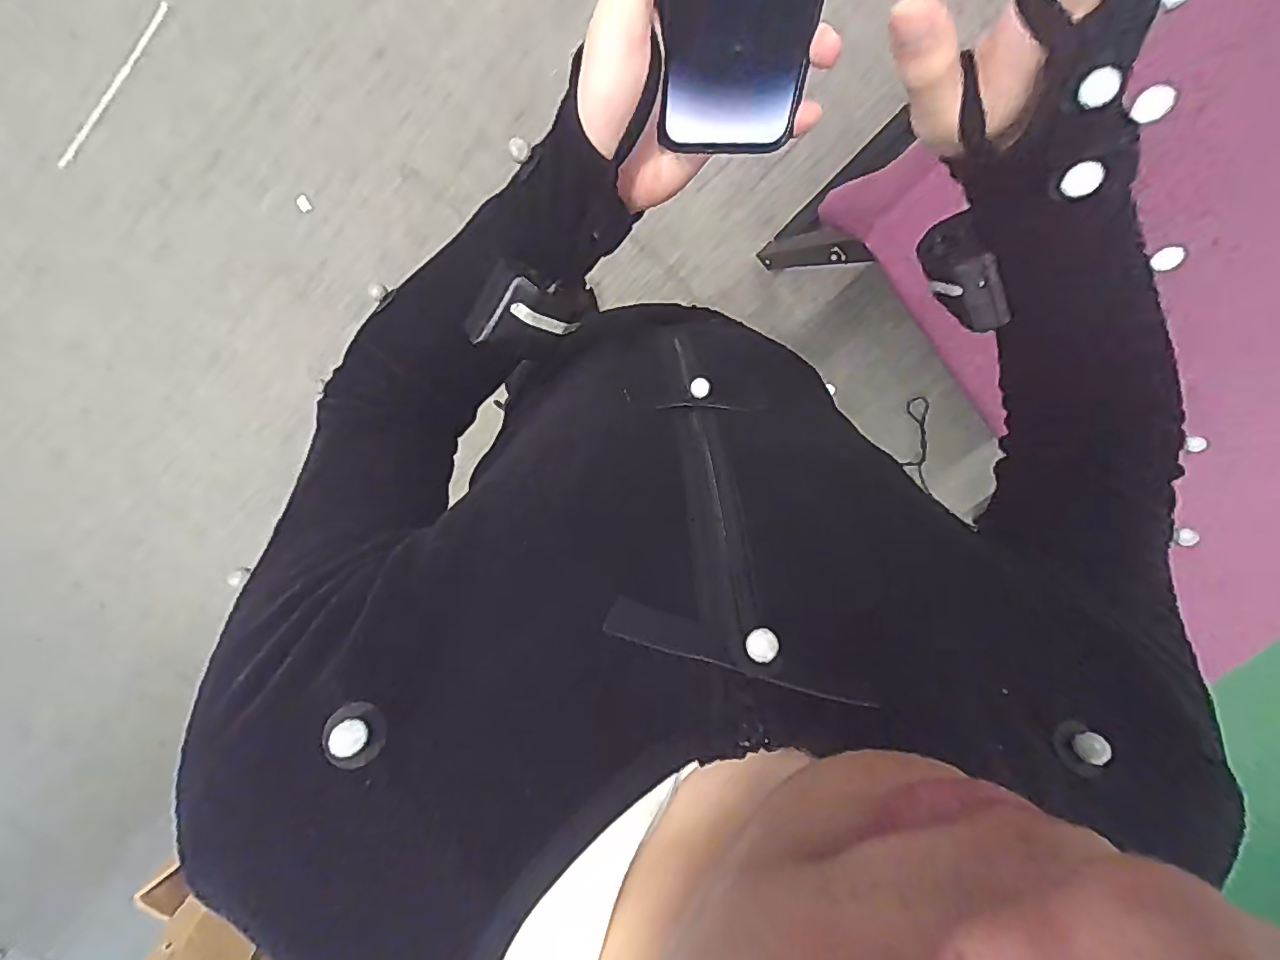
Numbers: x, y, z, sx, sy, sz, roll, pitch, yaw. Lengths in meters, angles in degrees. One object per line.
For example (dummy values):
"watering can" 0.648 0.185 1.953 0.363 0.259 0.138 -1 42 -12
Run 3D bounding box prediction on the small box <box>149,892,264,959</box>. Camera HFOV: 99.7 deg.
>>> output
"small box" -1.048 1.139 1.290 0.179 0.176 0.168 -36 107 9
